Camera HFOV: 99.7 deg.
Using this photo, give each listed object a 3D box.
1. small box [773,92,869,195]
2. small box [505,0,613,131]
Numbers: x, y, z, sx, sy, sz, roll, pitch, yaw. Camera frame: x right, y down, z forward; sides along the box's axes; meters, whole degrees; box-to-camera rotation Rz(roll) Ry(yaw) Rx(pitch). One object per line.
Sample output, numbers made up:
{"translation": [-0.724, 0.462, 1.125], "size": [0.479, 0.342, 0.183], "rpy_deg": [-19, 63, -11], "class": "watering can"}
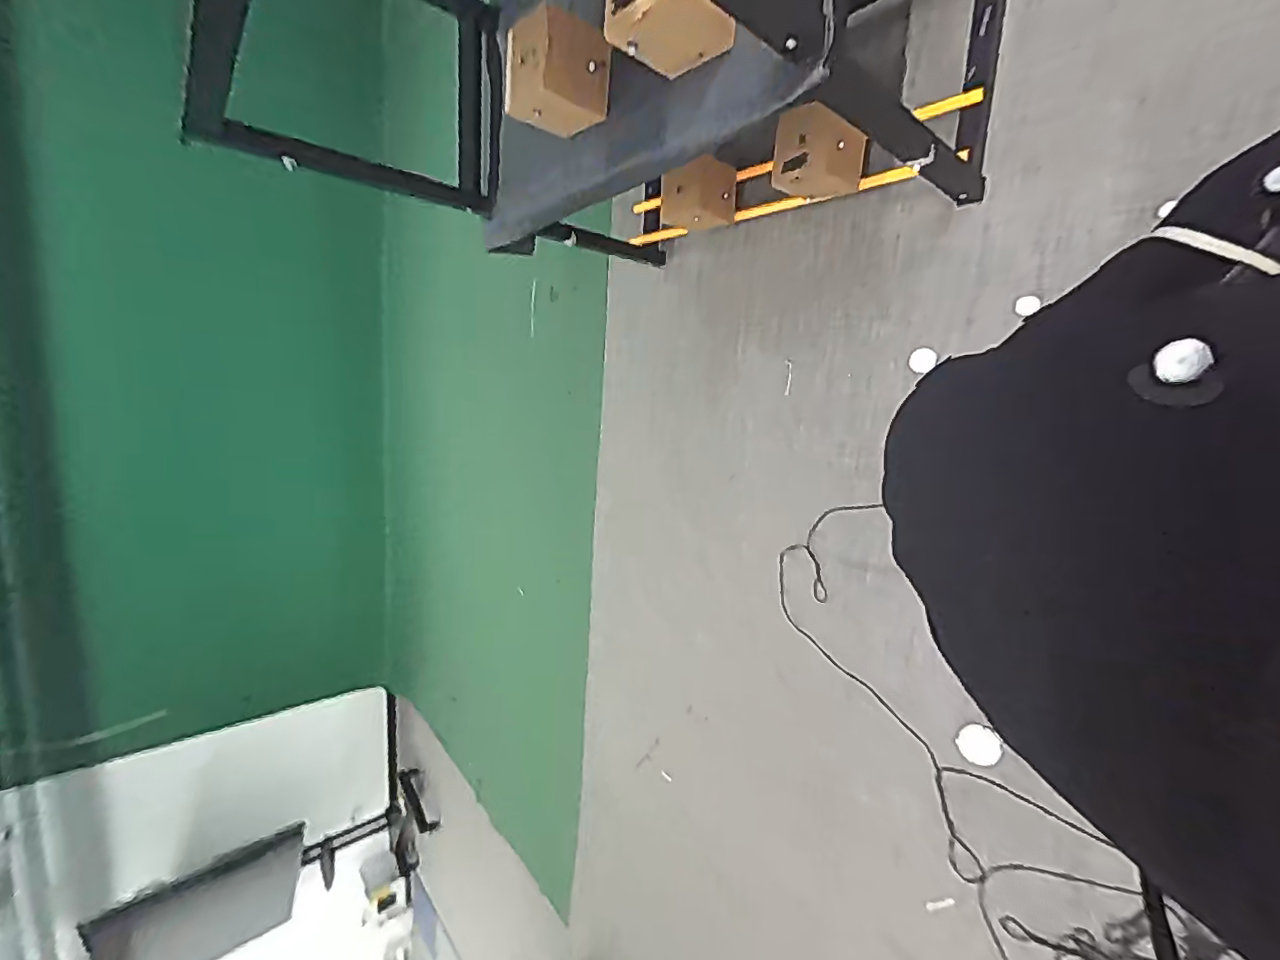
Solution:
{"translation": [0.473, -0.862, 1.408], "size": [0.168, 0.176, 0.179], "rpy_deg": [18, 108, 47], "class": "small box"}
{"translation": [-0.183, -0.914, 1.210], "size": [0.179, 0.176, 0.168], "rpy_deg": [18, 107, 48], "class": "small box"}
